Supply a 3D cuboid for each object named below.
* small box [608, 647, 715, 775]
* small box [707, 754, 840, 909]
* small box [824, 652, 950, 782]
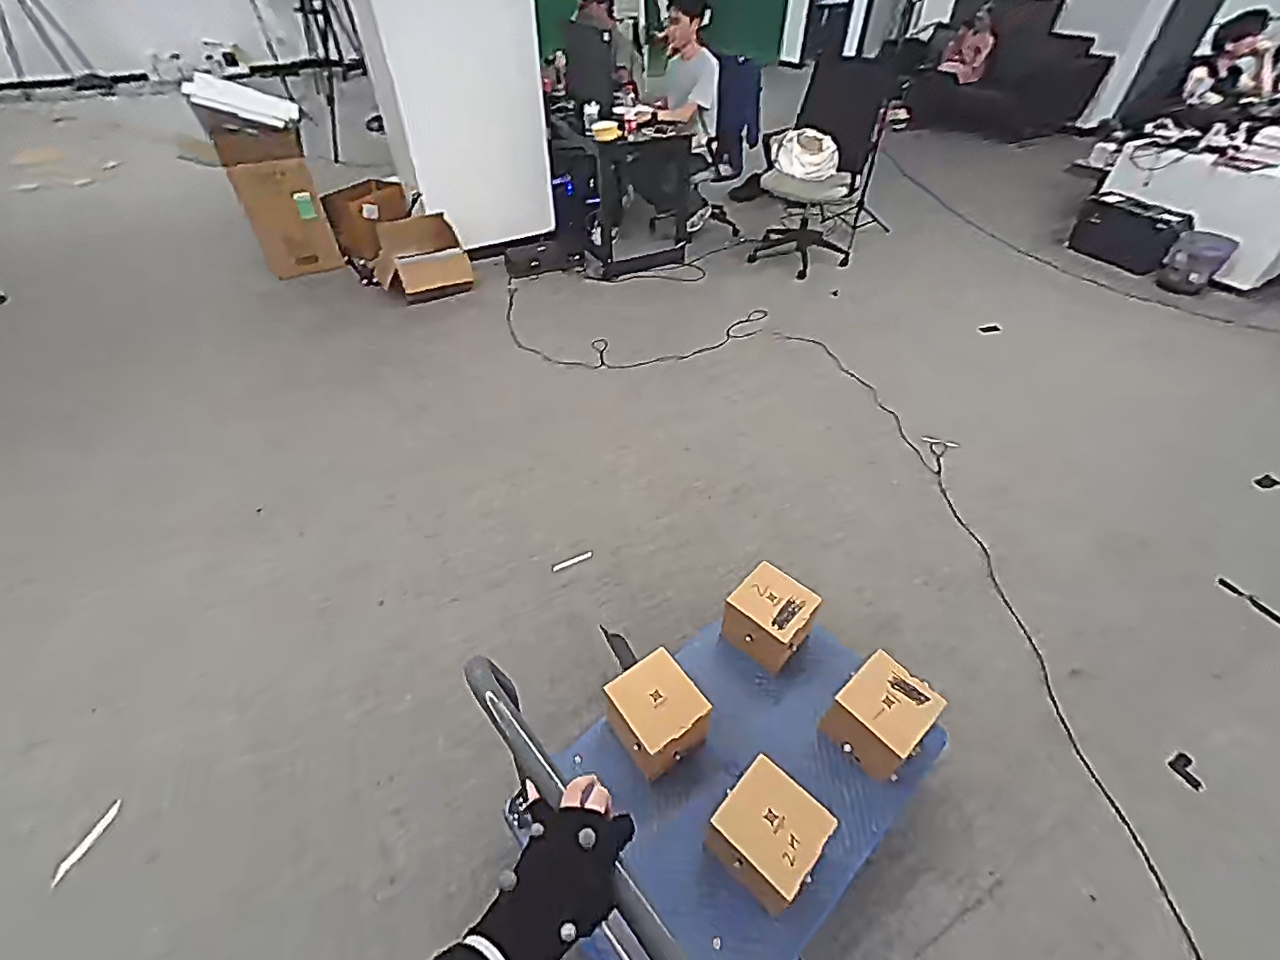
[{"bbox_3d":[0.041,0.516,1.205,0.168,0.176,0.179,-27,53,-25],"label":"small box"},{"bbox_3d":[0.247,0.679,1.042,0.179,0.176,0.168,35,55,30],"label":"small box"},{"bbox_3d":[0.535,0.524,1.196,0.179,0.176,0.168,-31,53,-26],"label":"small box"}]
